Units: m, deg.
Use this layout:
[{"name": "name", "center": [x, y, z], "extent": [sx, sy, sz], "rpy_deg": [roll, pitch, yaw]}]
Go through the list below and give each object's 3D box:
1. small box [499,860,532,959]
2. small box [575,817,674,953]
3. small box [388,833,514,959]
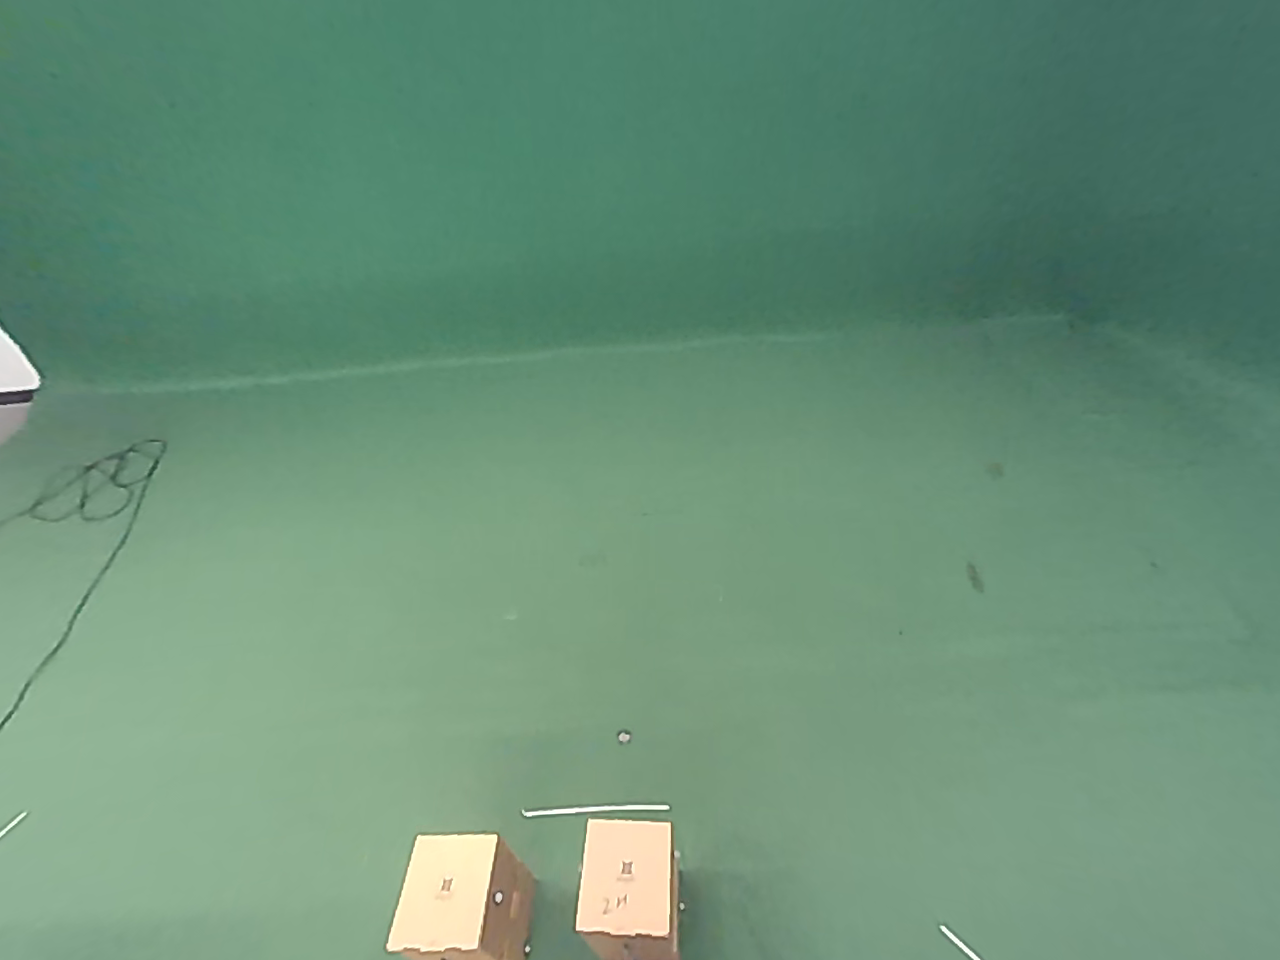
[{"name": "small box", "center": [-0.340, 0.935, 1.160], "extent": [0.179, 0.176, 0.168], "rpy_deg": [-4, 41, 4]}, {"name": "small box", "center": [-0.021, 0.781, 1.044], "extent": [0.168, 0.176, 0.179], "rpy_deg": [-1, 42, 6]}, {"name": "small box", "center": [-0.352, 0.815, 1.051], "extent": [0.168, 0.176, 0.179], "rpy_deg": [-3, 41, 4]}]
